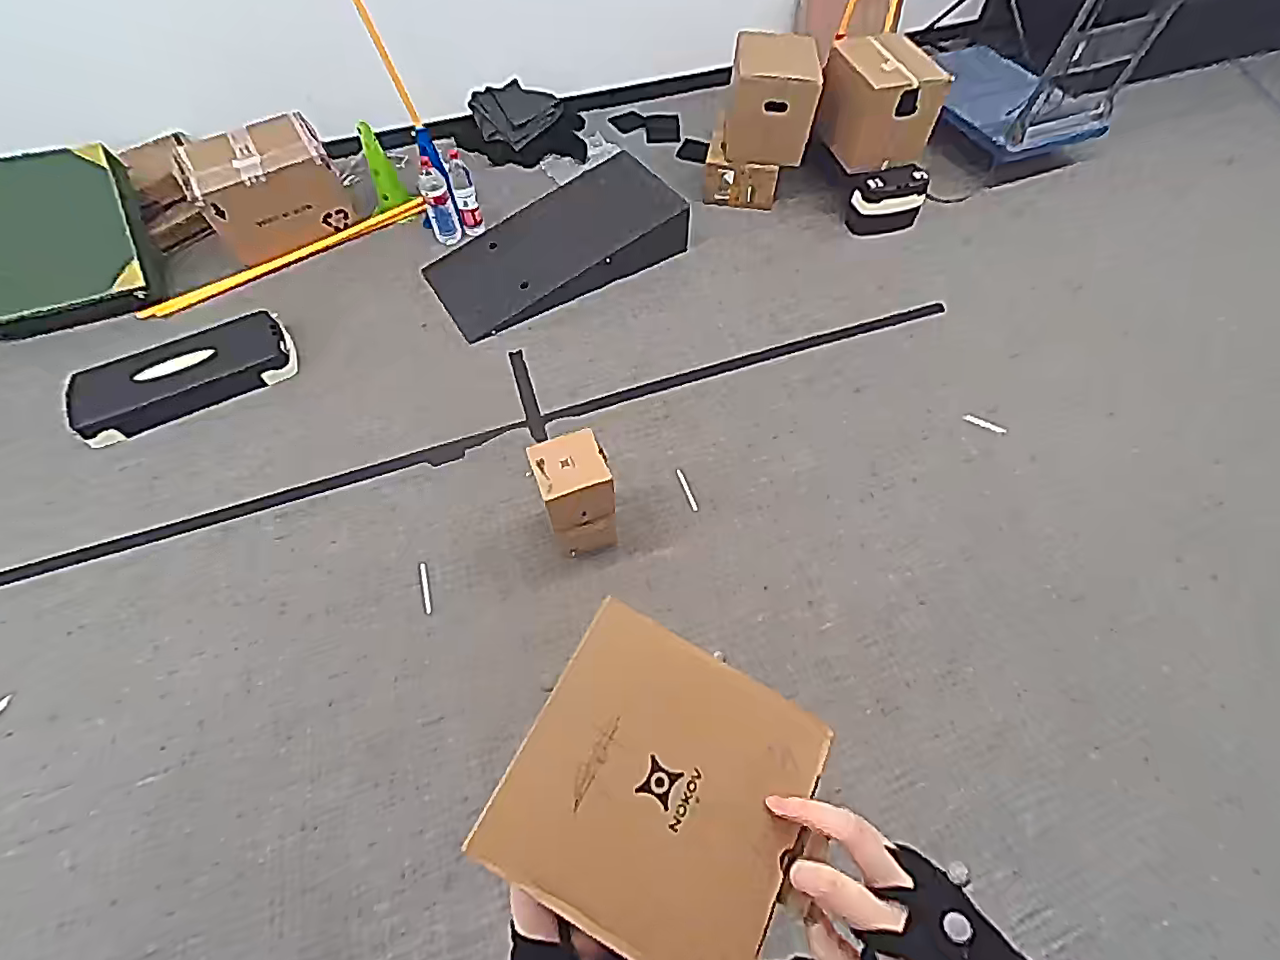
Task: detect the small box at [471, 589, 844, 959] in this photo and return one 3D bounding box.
[{"bbox_3d":[0.008,0.206,0.394,0.179,0.176,0.168,30,65,5],"label":"small box"}]

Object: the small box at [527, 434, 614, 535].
[{"bbox_3d":[-0.174,0.015,1.378,0.179,0.176,0.168,-18,59,-12],"label":"small box"}]

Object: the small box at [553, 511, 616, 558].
[{"bbox_3d":[-0.168,0.102,1.518,0.168,0.176,0.179,-14,59,-9],"label":"small box"}]
